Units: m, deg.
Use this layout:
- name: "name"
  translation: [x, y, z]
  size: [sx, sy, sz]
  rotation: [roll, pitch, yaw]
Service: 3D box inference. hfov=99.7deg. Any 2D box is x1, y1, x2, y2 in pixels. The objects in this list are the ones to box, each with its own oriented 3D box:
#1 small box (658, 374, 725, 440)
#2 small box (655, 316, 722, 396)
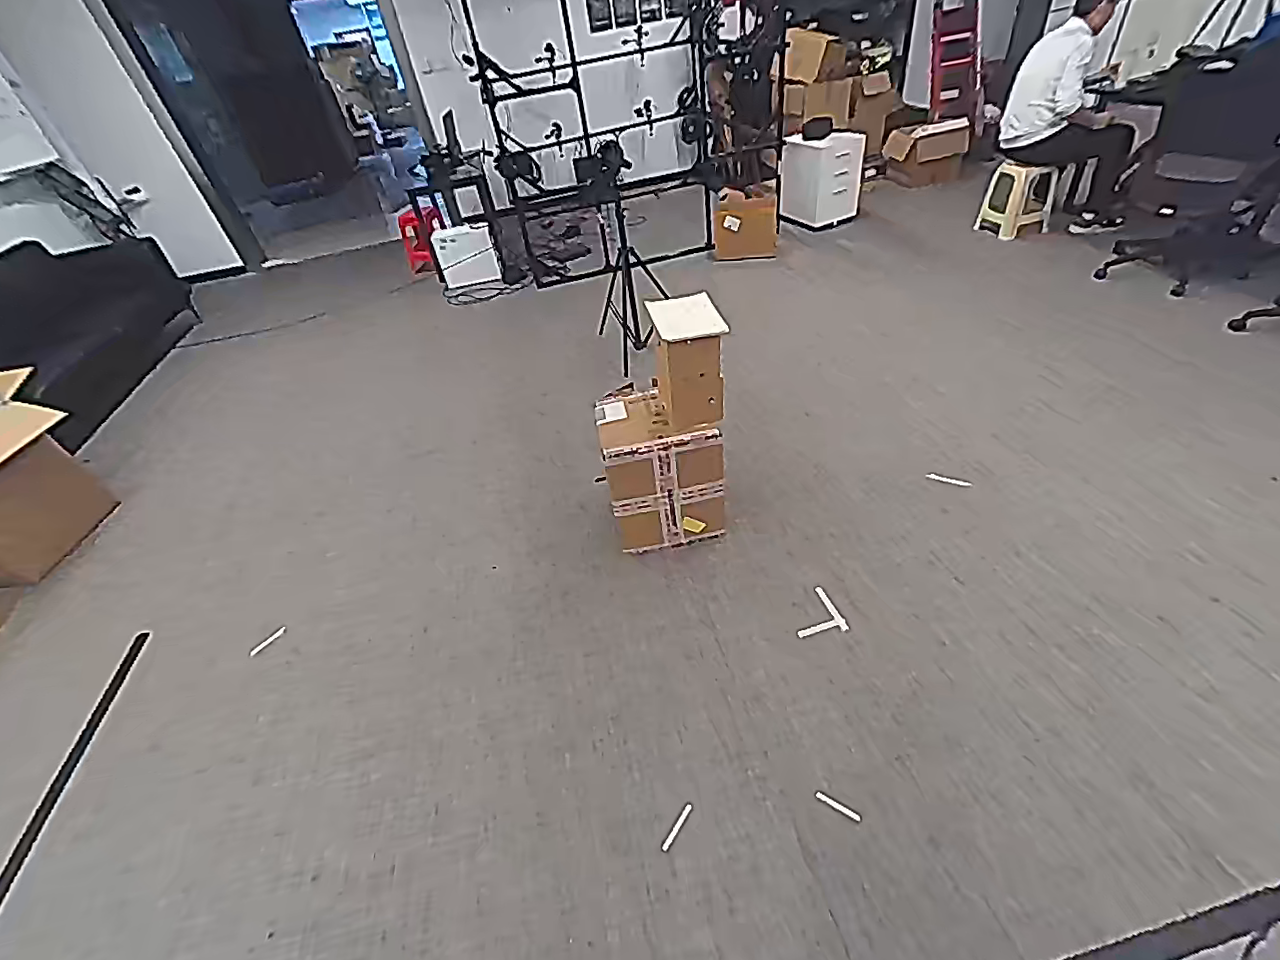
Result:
- name: "small box"
  translation: [0.167, -0.256, 1.769]
  size: [0.179, 0.176, 0.168]
  rotation: [-15, 41, -7]
- name: "small box"
  translation: [0.146, -0.383, 1.668]
  size: [0.168, 0.176, 0.179]
  rotation: [-13, 41, -6]
